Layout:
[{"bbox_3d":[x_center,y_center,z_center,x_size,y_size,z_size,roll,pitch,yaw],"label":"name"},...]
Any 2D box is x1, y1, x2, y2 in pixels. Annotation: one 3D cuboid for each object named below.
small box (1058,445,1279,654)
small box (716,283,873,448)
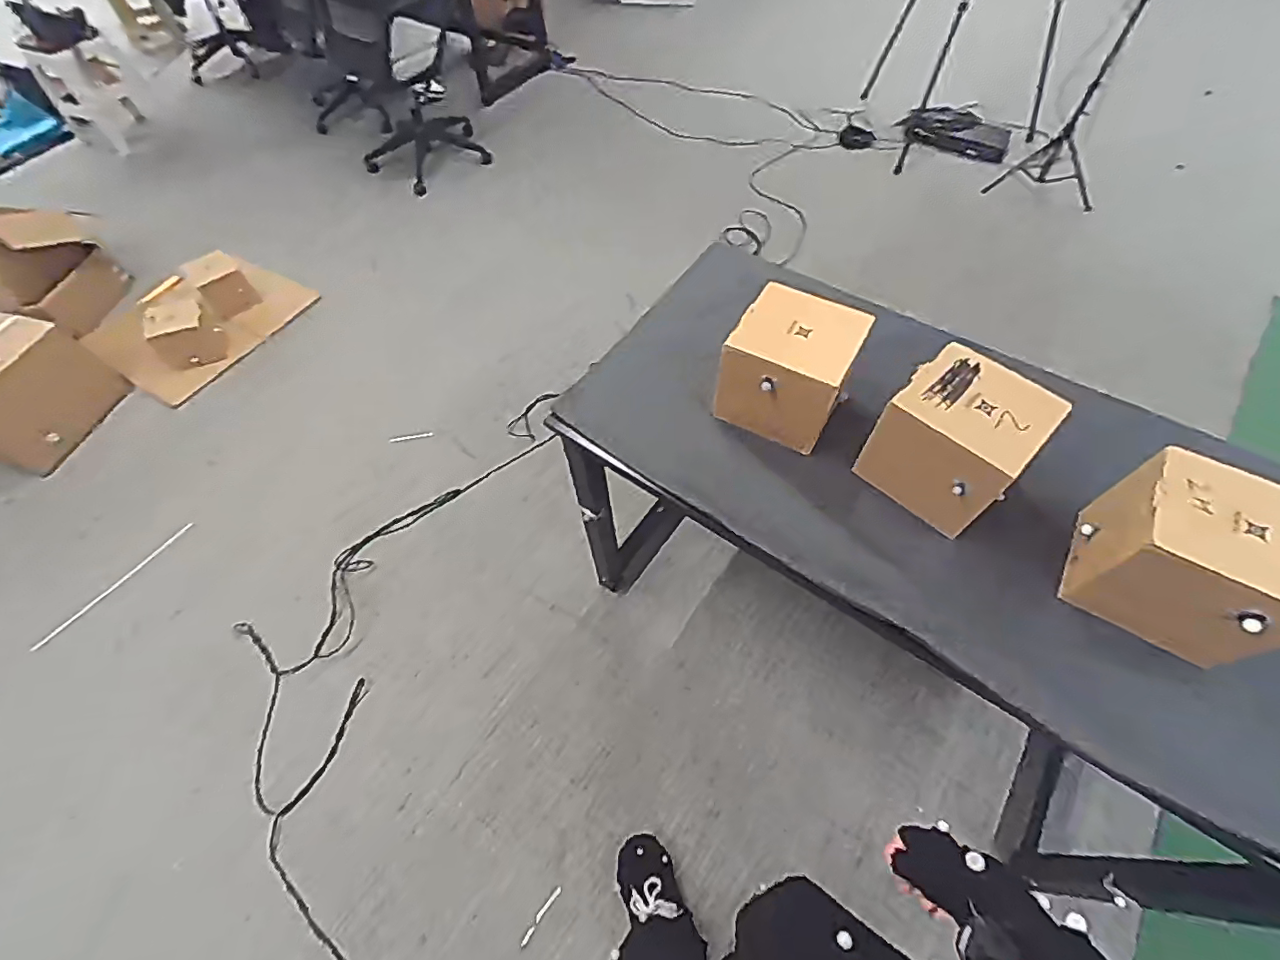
[{"bbox_3d":[0.679,0.095,0.673,0.179,0.176,0.168,29,62,19],"label":"small box"},{"bbox_3d":[0.239,-0.177,0.869,0.179,0.176,0.168,26,62,17],"label":"small box"}]
